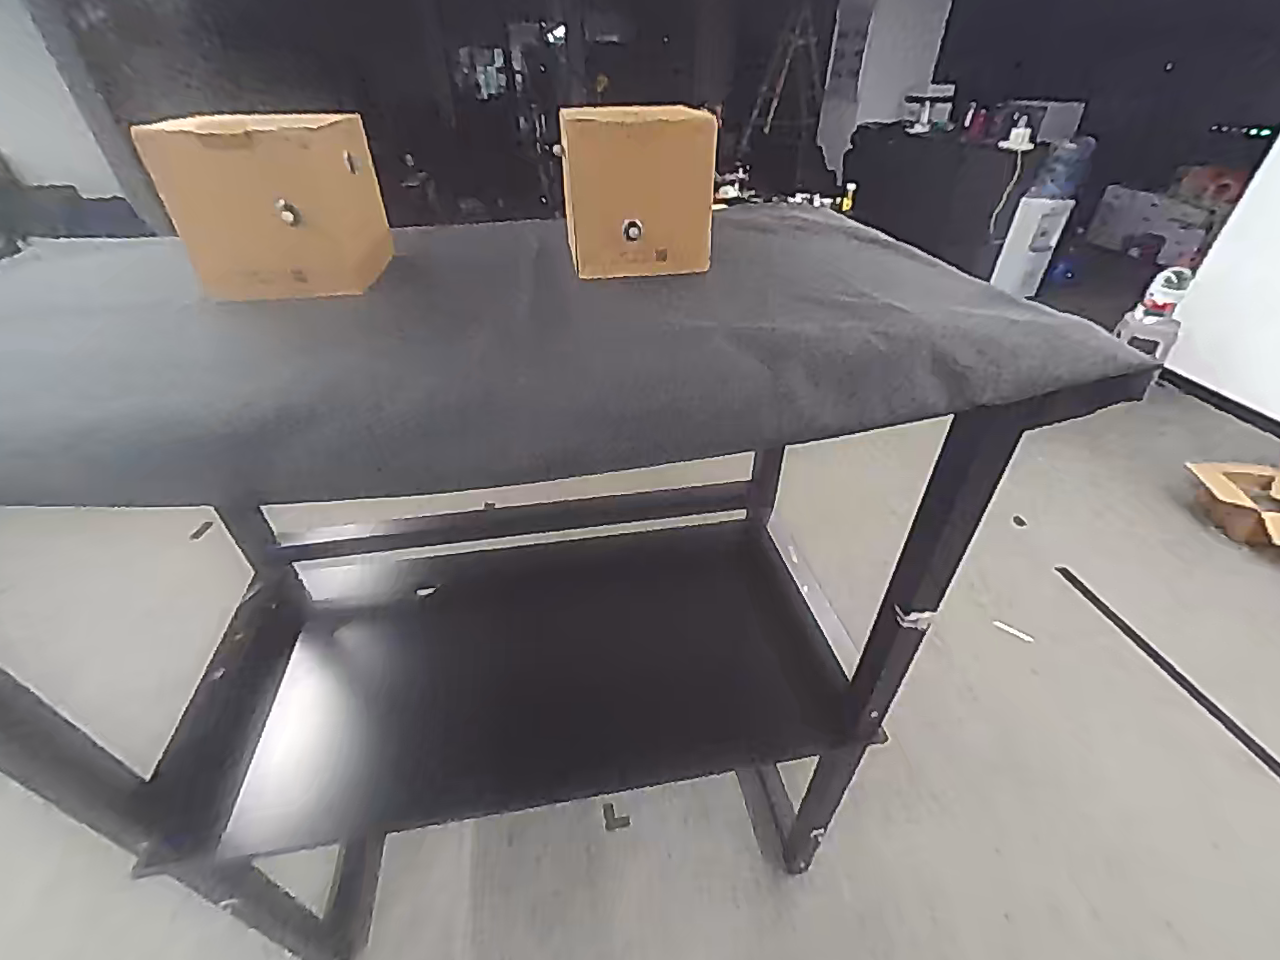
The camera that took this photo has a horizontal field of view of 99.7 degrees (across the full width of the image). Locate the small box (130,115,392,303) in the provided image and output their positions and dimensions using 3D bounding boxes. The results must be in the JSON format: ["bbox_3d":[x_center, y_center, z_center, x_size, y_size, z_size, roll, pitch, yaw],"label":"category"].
[{"bbox_3d":[-0.406,-0.312,0.625,0.168,0.176,0.179,-4,38,-6],"label":"small box"}]

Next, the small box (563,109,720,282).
[{"bbox_3d":[-0.007,-0.362,0.684,0.168,0.176,0.179,-6,39,-7],"label":"small box"}]
